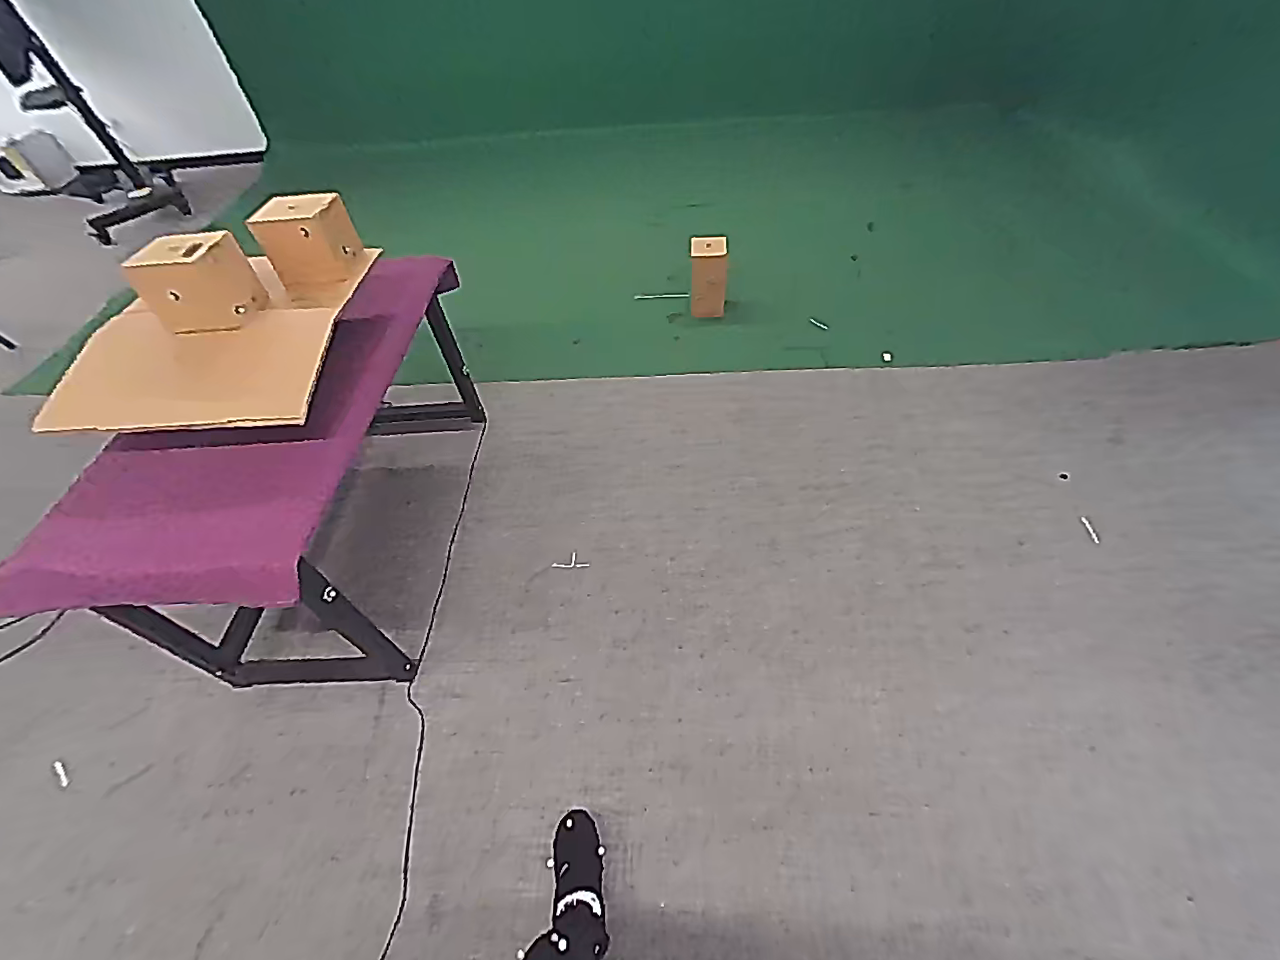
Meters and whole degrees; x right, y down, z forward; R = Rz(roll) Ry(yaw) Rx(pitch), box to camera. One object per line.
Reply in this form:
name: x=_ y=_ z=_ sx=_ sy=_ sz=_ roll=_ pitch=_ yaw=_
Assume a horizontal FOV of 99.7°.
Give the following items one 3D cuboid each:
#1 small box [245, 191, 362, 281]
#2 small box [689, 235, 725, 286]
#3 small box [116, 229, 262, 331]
small box: x=-0.878 y=-0.640 z=1.429 sx=0.179 sy=0.176 sz=0.168 roll=-3 pitch=48 yaw=1
small box: x=0.320 y=-1.052 z=2.593 sx=0.168 sy=0.176 sz=0.179 roll=0 pitch=51 yaw=6
small box: x=-1.057 y=-0.475 z=1.291 sx=0.179 sy=0.176 sz=0.168 roll=-4 pitch=47 yaw=2
